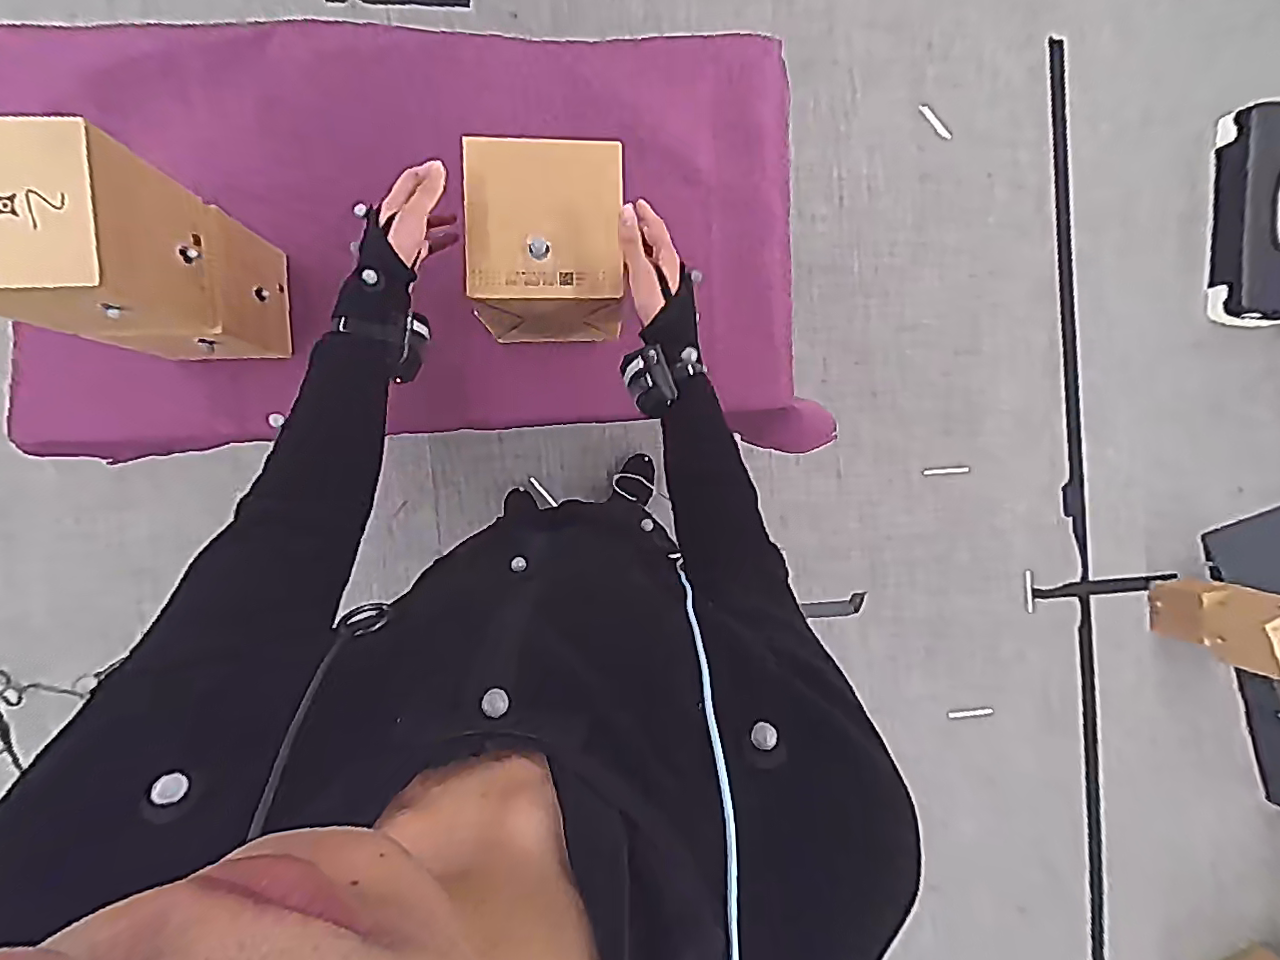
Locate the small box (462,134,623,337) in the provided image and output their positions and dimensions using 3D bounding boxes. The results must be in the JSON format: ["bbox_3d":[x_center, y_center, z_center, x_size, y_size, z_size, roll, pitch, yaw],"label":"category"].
[{"bbox_3d":[-0.107,-0.270,0.639,0.168,0.179,0.176,-2,91,-5],"label":"small box"}]

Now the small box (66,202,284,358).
[{"bbox_3d":[-0.633,-0.270,0.763,0.179,0.176,0.168,-2,92,-5],"label":"small box"}]
